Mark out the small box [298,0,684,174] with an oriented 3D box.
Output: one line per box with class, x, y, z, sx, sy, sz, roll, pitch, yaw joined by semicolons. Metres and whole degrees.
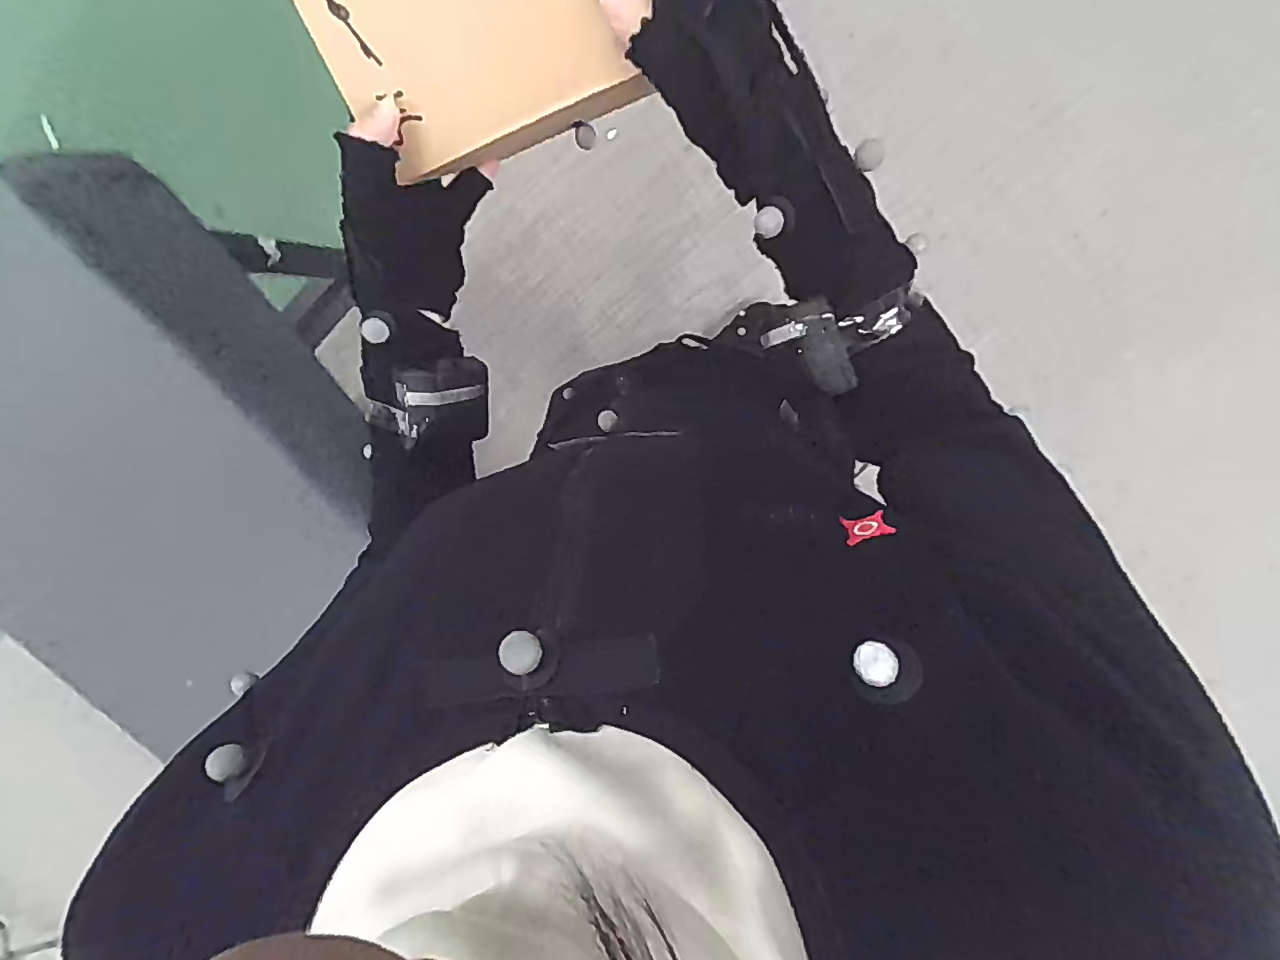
small box;-0.078;-0.301;0.311;0.179;0.176;0.168;-9;122;19
